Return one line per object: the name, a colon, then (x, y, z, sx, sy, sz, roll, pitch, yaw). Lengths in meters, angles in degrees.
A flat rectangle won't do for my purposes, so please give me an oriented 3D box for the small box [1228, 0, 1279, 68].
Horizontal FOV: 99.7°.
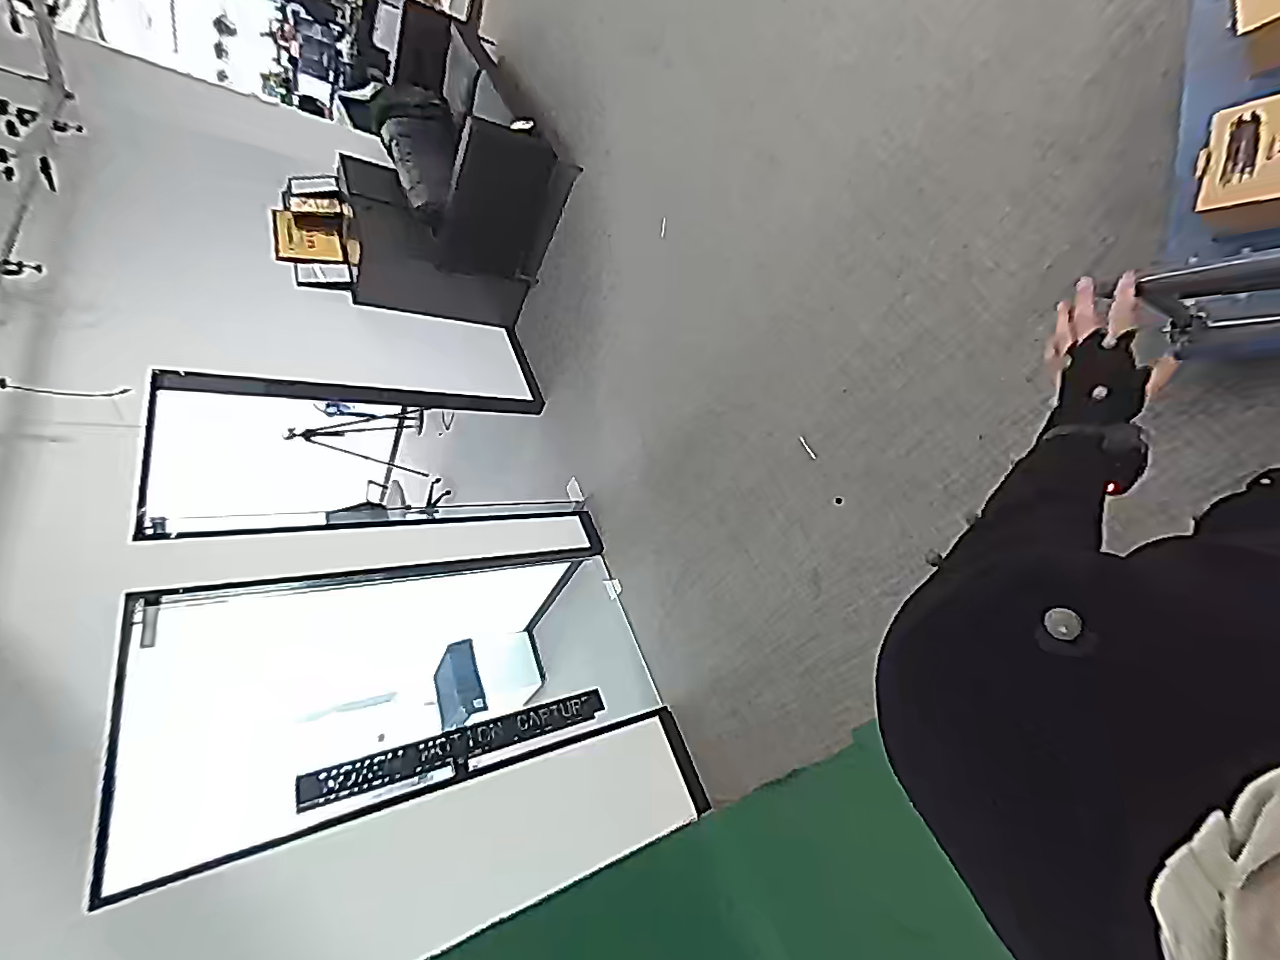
small box: (1.099, -0.828, 0.888, 0.168, 0.176, 0.179, -2, 89, 52)
